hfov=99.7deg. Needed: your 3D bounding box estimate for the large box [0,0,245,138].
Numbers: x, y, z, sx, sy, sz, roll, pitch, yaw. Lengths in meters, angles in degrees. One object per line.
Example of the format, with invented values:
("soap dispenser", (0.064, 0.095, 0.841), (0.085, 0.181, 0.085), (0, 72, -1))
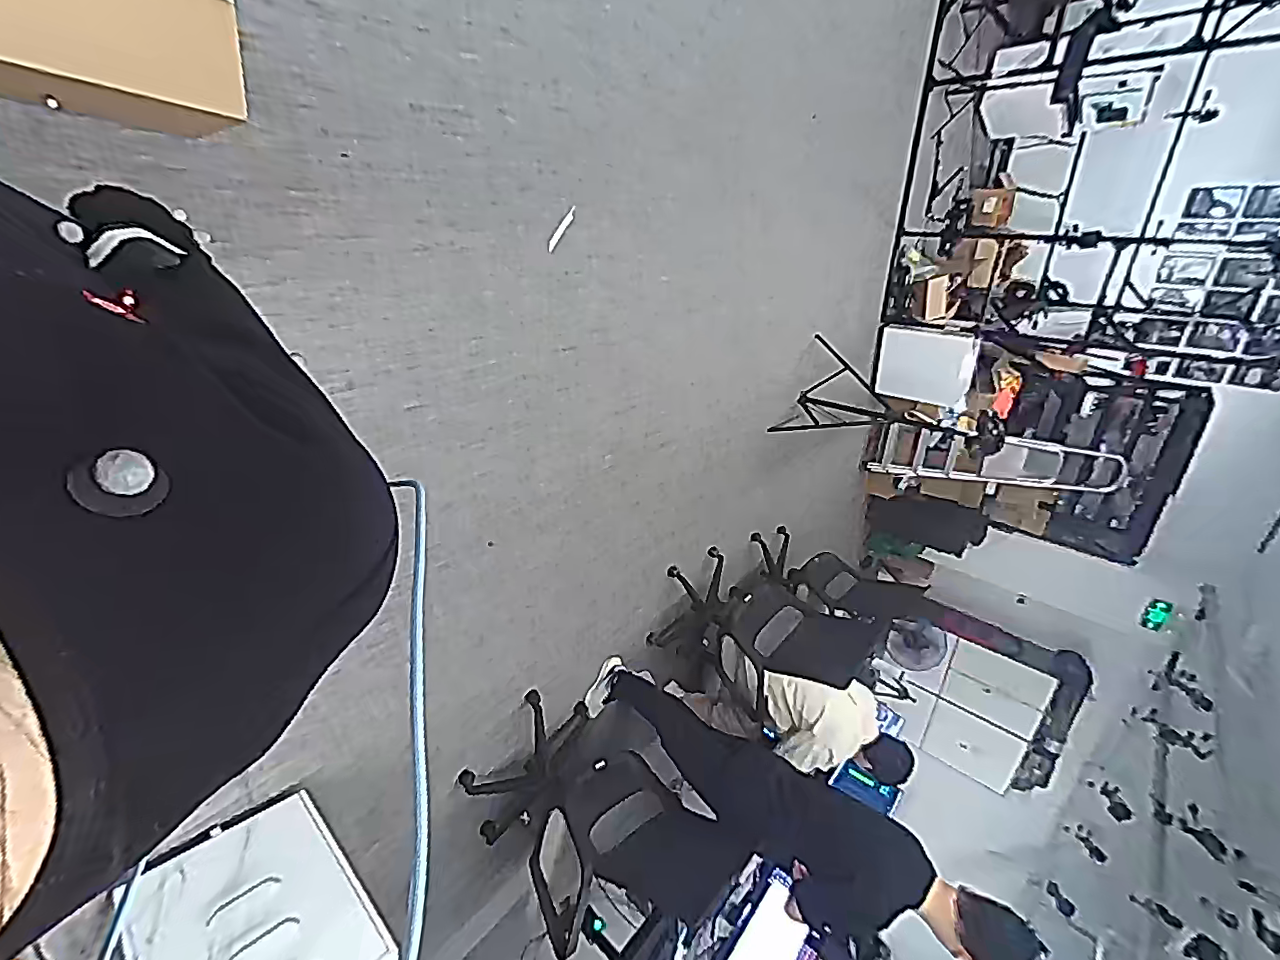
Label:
("large box", (-0.838, -0.695, 0.724), (0.408, 0.320, 0.320), (-17, 120, -47))
